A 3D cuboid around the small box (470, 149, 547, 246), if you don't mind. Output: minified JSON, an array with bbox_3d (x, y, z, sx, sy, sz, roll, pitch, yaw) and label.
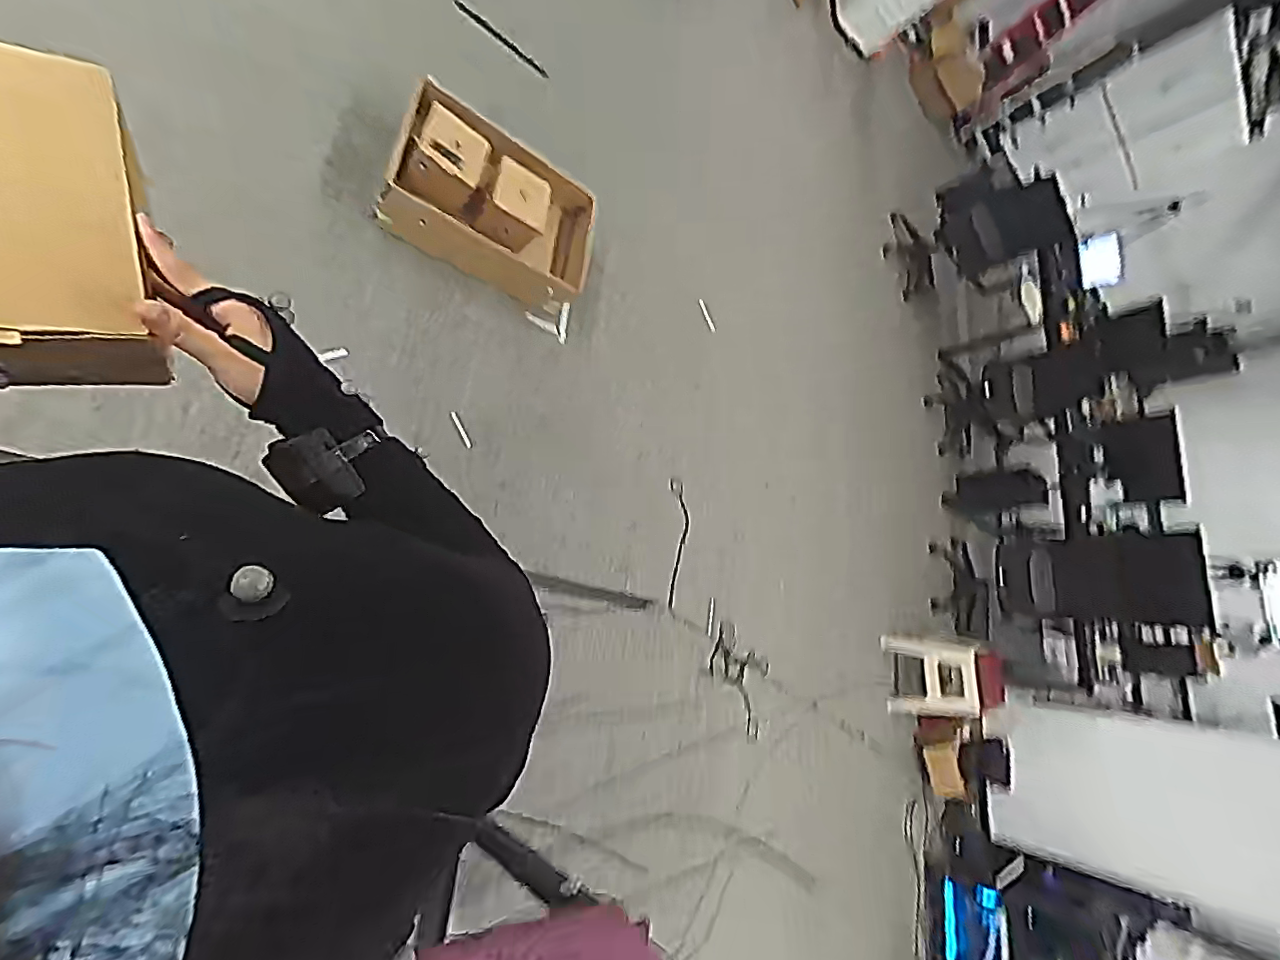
[{"bbox_3d":[-0.414,-0.871,1.690,0.168,0.176,0.179,18,71,-37],"label":"small box"}]
